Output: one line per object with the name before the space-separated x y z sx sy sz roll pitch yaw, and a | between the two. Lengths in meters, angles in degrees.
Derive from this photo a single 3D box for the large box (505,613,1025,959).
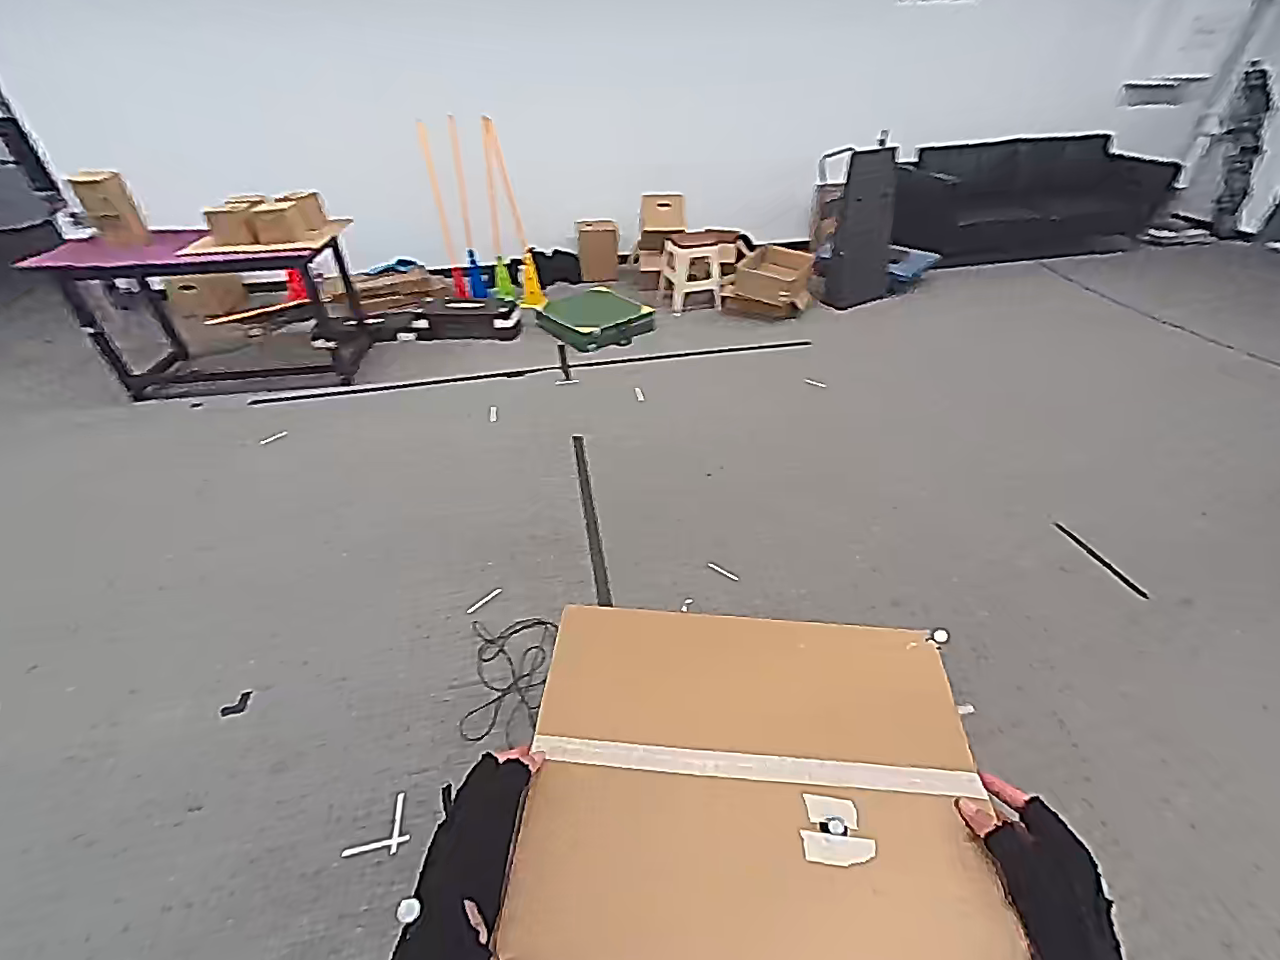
large box | 0.103 0.375 0.611 0.408 0.320 0.320 3 45 4
